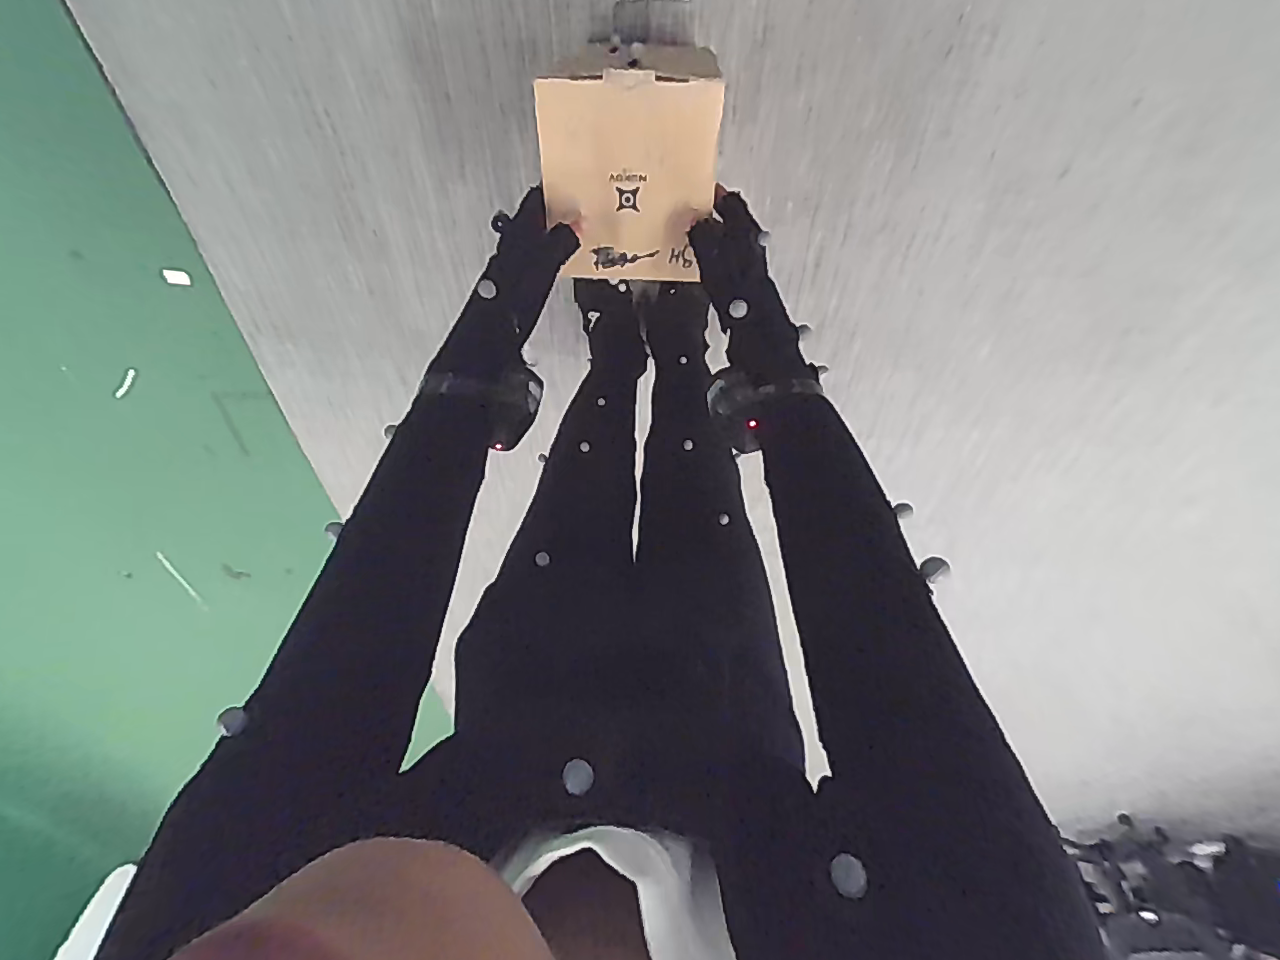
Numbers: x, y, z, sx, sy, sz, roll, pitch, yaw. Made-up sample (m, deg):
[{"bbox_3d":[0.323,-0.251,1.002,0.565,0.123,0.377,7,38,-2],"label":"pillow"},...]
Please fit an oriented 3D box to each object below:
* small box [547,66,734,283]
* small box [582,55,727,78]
[{"bbox_3d":[0.002,-0.330,0.579,0.168,0.176,0.179,3,131,2],"label":"small box"},{"bbox_3d":[0.016,-0.437,0.703,0.168,0.176,0.179,3,133,2],"label":"small box"}]
